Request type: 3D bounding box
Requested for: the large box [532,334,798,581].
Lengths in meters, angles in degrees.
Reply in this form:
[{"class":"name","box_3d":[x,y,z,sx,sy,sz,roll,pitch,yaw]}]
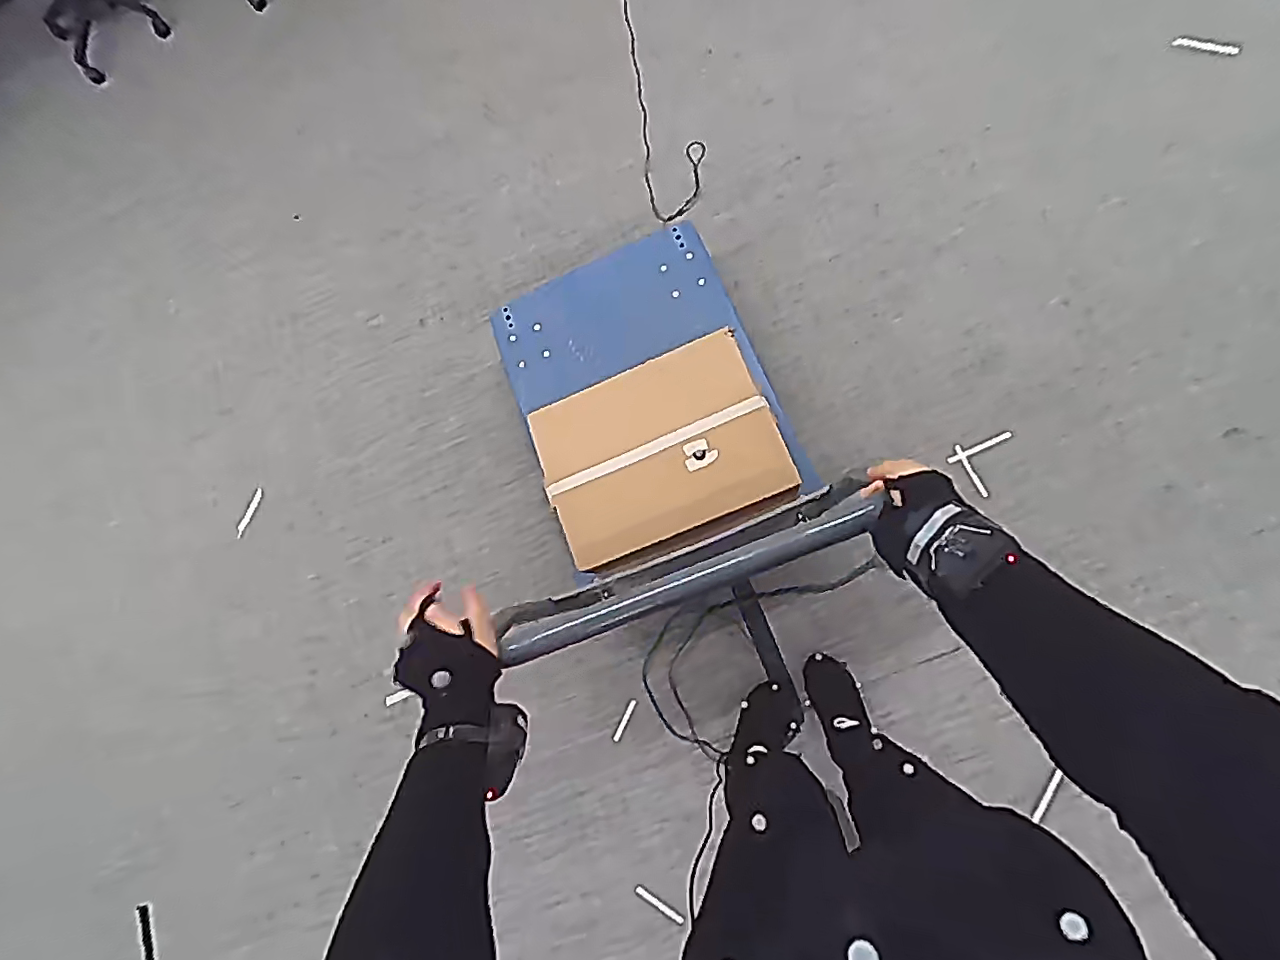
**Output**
[{"class":"large box","box_3d":[0.057,-0.017,1.092,0.408,0.320,0.320,-23,75,5]}]
